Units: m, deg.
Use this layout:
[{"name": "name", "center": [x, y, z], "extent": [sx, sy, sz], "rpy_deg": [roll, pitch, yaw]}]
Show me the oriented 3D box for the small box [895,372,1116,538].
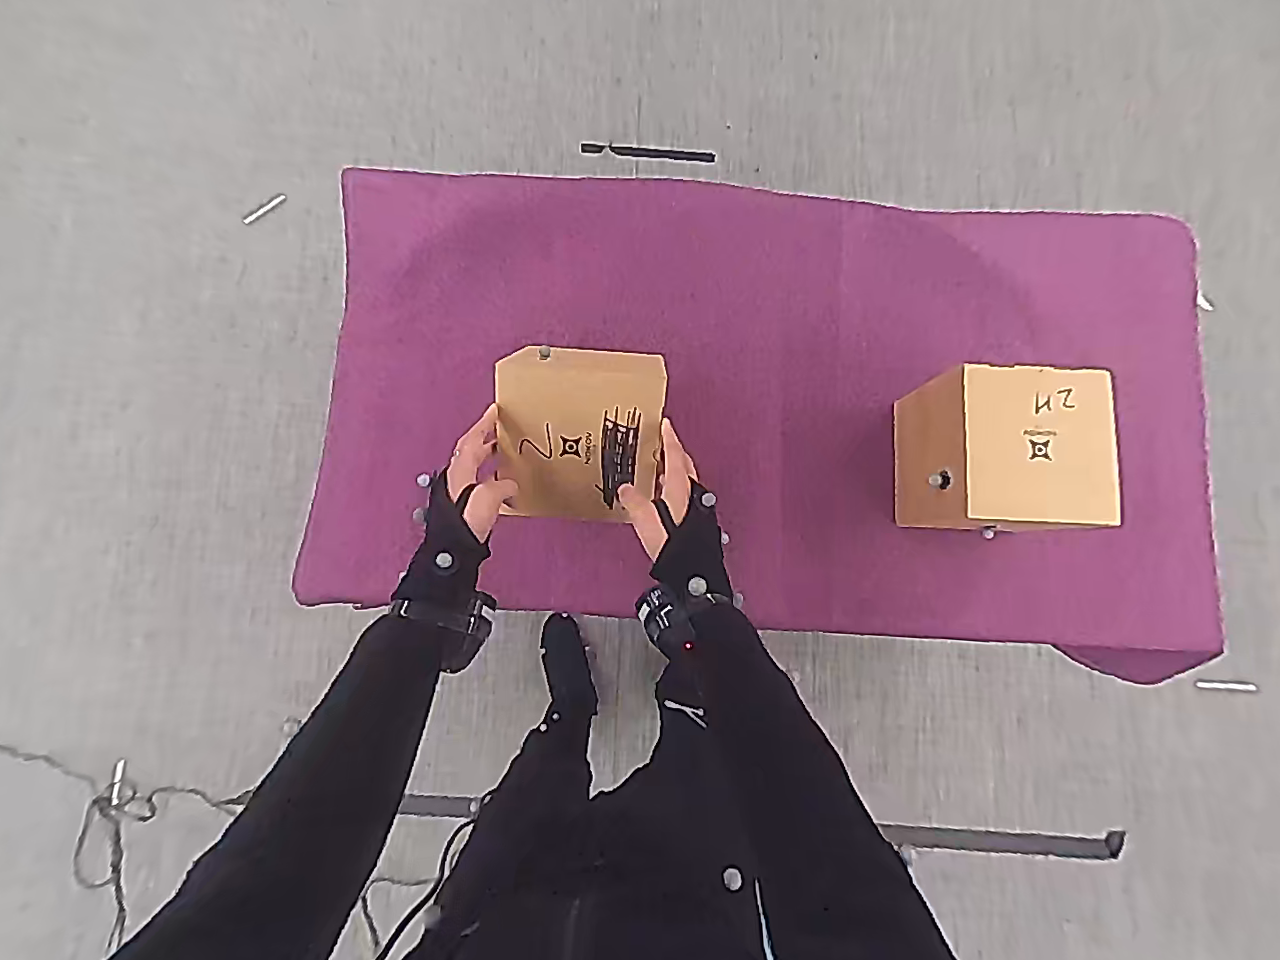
[{"name": "small box", "center": [0.436, -0.020, 0.672], "extent": [0.168, 0.176, 0.179], "rpy_deg": [3, 82, 0]}]
